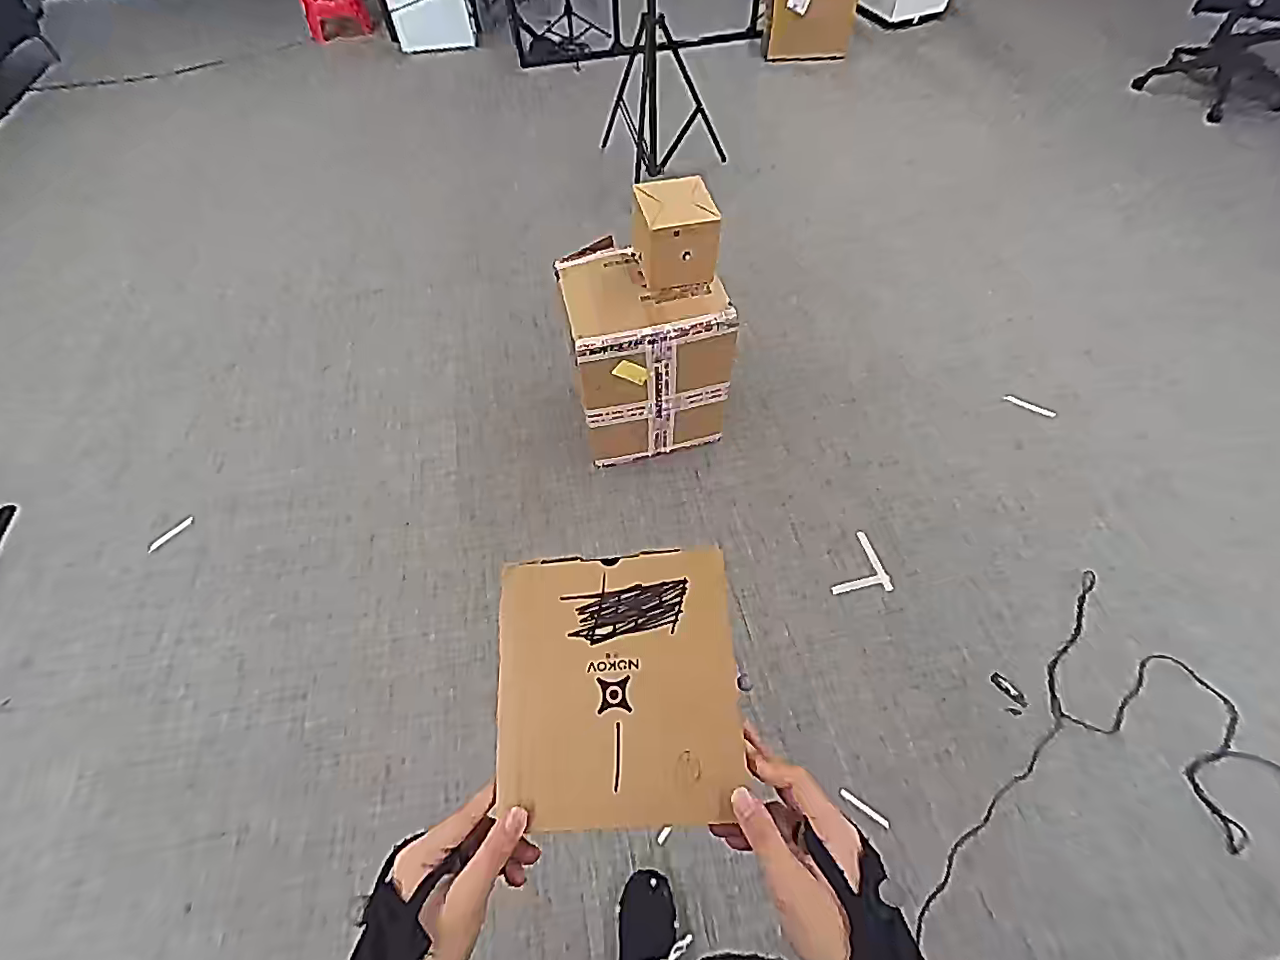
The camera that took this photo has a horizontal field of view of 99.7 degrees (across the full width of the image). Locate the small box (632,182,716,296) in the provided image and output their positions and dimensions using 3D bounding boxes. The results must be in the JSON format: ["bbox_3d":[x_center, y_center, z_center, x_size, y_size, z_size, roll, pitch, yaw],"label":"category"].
[{"bbox_3d":[0.077,-0.576,1.292,0.168,0.176,0.179,-12,59,-8],"label":"small box"}]

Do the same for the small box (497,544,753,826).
[{"bbox_3d":[-0.006,0.161,0.443,0.168,0.176,0.179,-6,70,5],"label":"small box"}]
